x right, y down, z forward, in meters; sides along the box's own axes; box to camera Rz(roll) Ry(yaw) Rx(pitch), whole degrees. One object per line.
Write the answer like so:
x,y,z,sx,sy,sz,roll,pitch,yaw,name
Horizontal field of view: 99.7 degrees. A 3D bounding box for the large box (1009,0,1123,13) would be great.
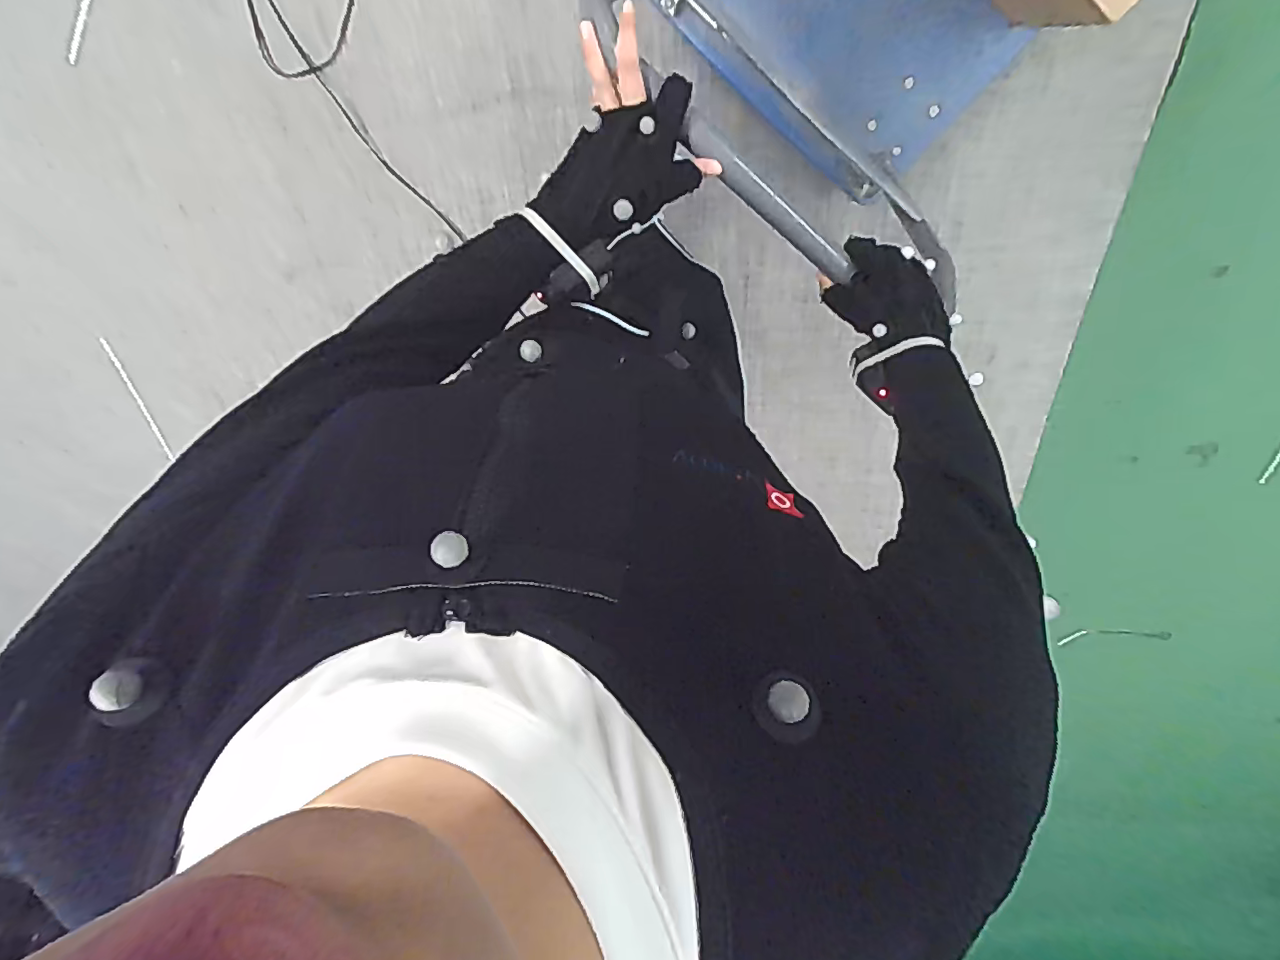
0.531,-0.866,0.653,0.408,0.320,0.320,31,128,-14,large box
